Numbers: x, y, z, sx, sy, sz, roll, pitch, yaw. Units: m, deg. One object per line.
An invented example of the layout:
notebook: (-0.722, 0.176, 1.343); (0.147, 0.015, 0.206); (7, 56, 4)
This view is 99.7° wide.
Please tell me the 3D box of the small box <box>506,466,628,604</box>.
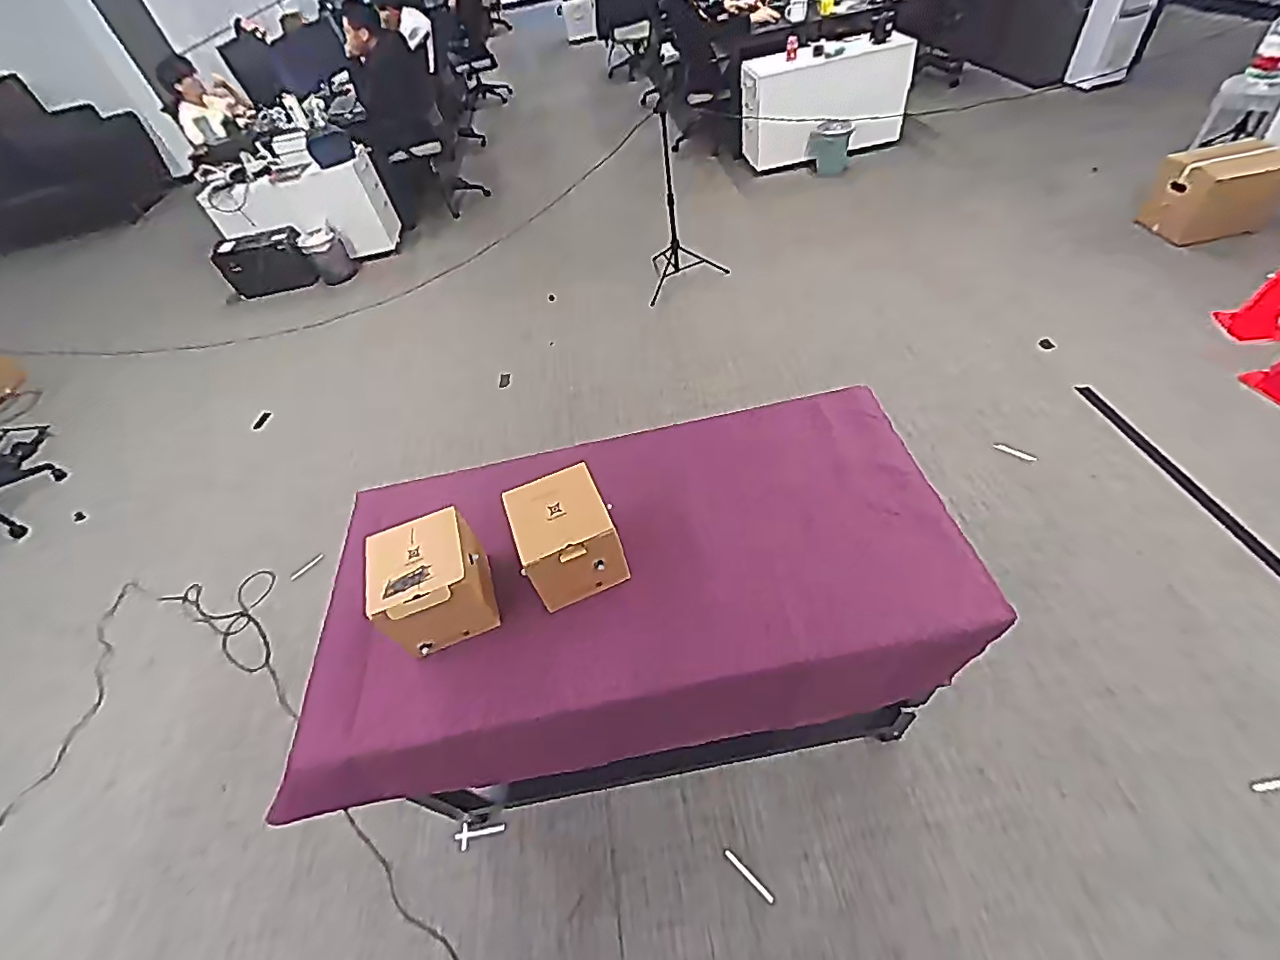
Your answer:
small box: (-0.132, 0.110, 1.012); (0.168, 0.176, 0.179); (-21, 48, -8)

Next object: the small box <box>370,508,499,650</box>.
small box: (-0.371, 0.188, 0.988); (0.168, 0.176, 0.179); (-20, 48, -7)
